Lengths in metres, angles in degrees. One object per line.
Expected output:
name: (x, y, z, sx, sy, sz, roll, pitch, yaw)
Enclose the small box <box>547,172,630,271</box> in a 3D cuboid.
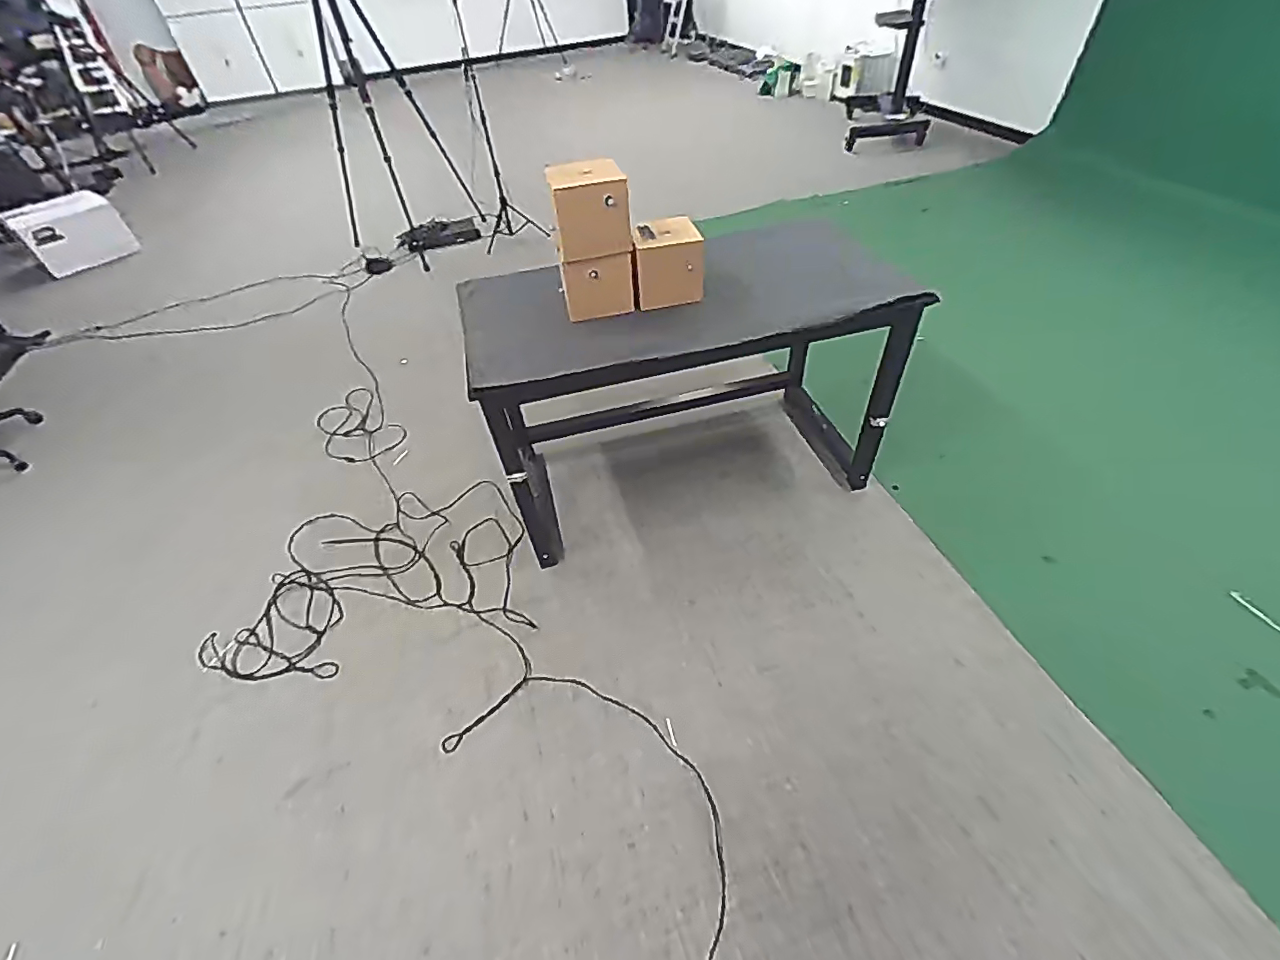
small box: (-0.125, -0.644, 1.348, 0.179, 0.176, 0.168, -12, 45, -7)
